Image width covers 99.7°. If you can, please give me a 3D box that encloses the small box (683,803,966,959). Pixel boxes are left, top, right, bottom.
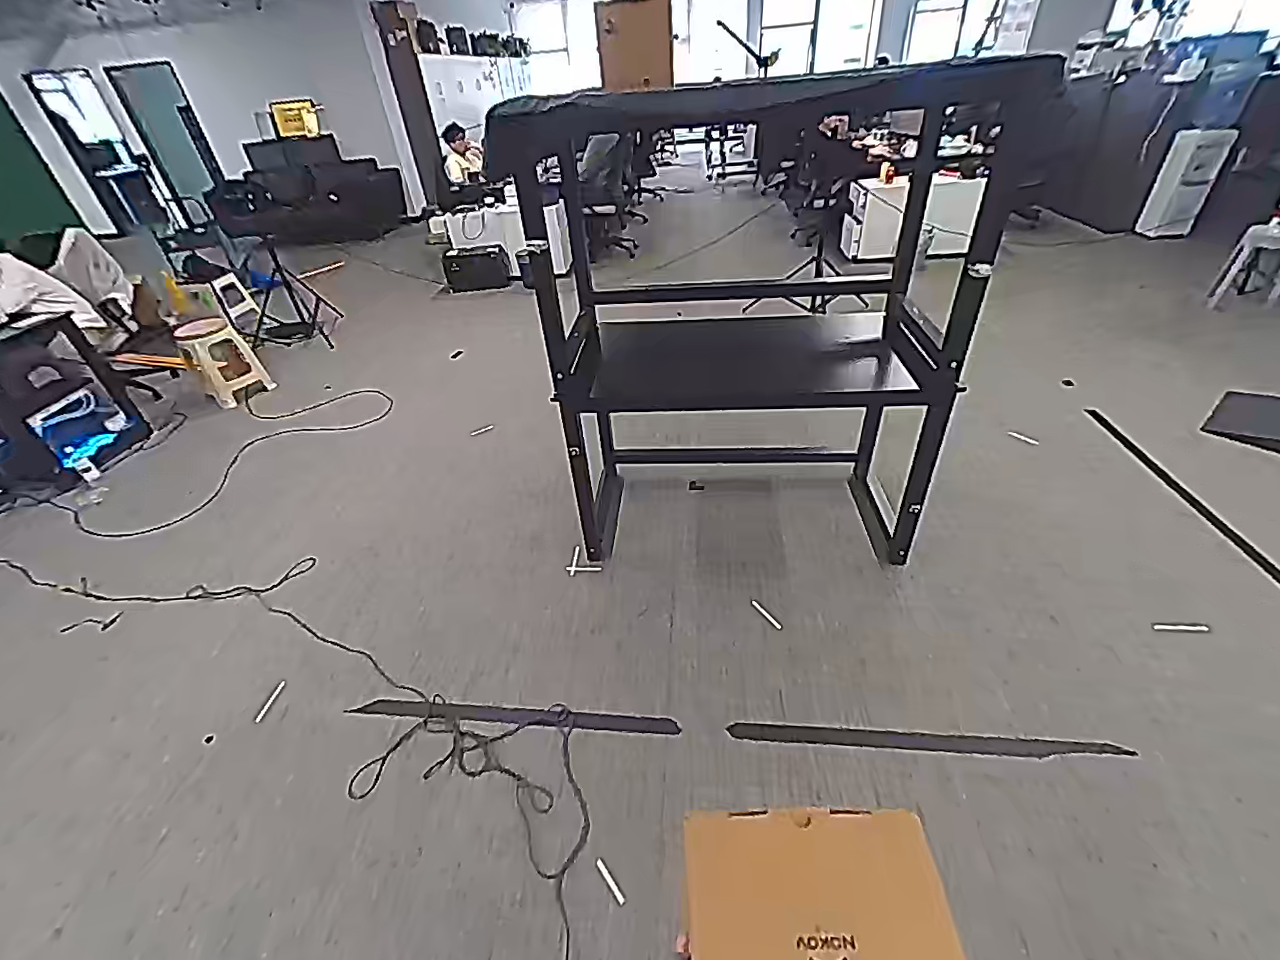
[{"bbox_3d":[0.117,0.351,0.374,0.168,0.176,0.179,-2,39,2],"label":"small box"}]
